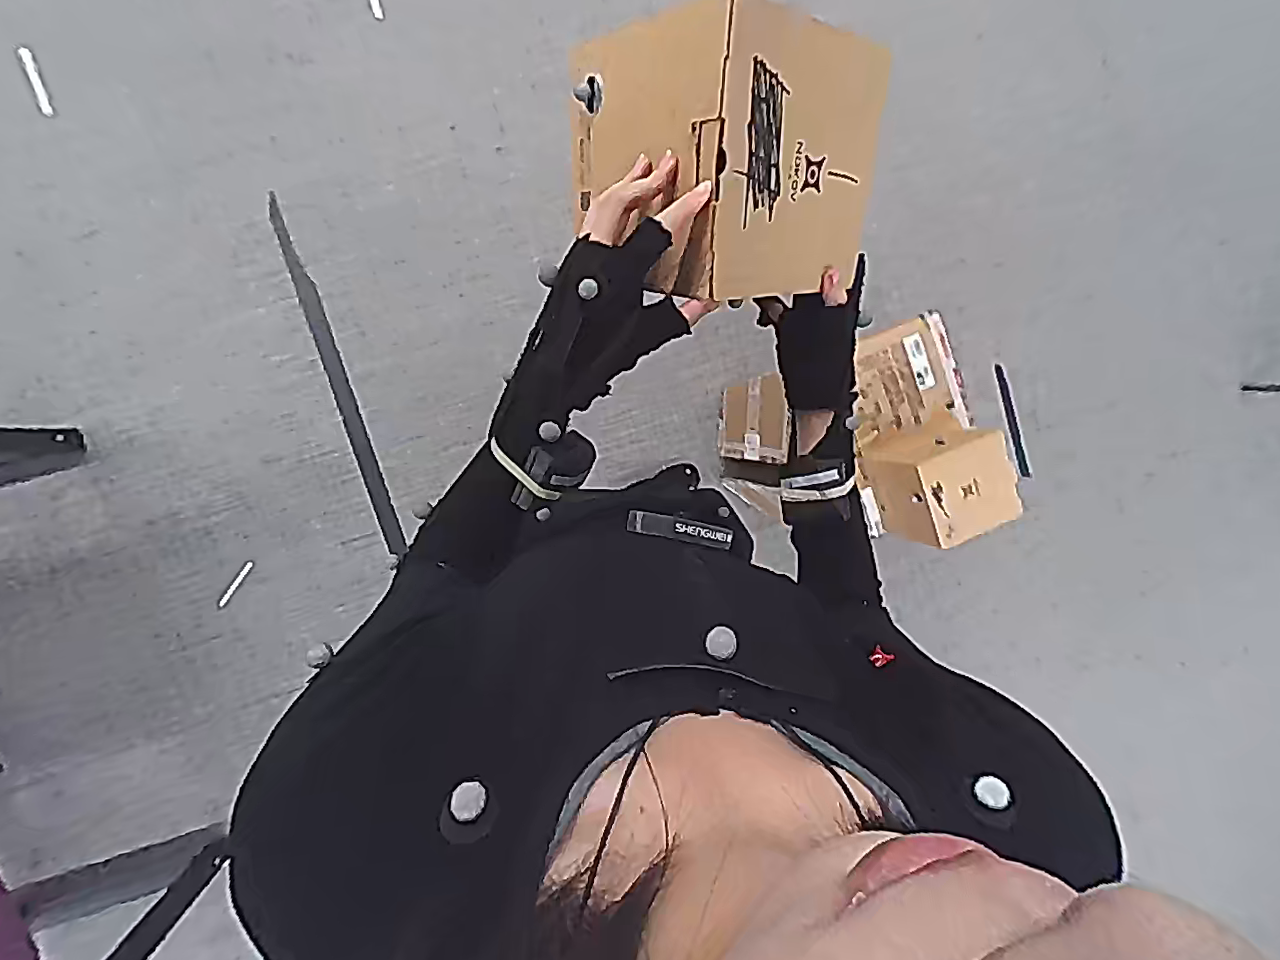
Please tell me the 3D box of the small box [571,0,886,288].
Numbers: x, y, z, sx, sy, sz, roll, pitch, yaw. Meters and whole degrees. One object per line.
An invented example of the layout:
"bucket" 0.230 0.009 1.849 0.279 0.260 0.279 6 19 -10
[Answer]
"small box" 0.056 -0.245 0.426 0.179 0.176 0.168 -18 121 -34

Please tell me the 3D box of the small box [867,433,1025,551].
"small box" 0.569 0.013 1.023 0.179 0.176 0.168 -22 98 -7
